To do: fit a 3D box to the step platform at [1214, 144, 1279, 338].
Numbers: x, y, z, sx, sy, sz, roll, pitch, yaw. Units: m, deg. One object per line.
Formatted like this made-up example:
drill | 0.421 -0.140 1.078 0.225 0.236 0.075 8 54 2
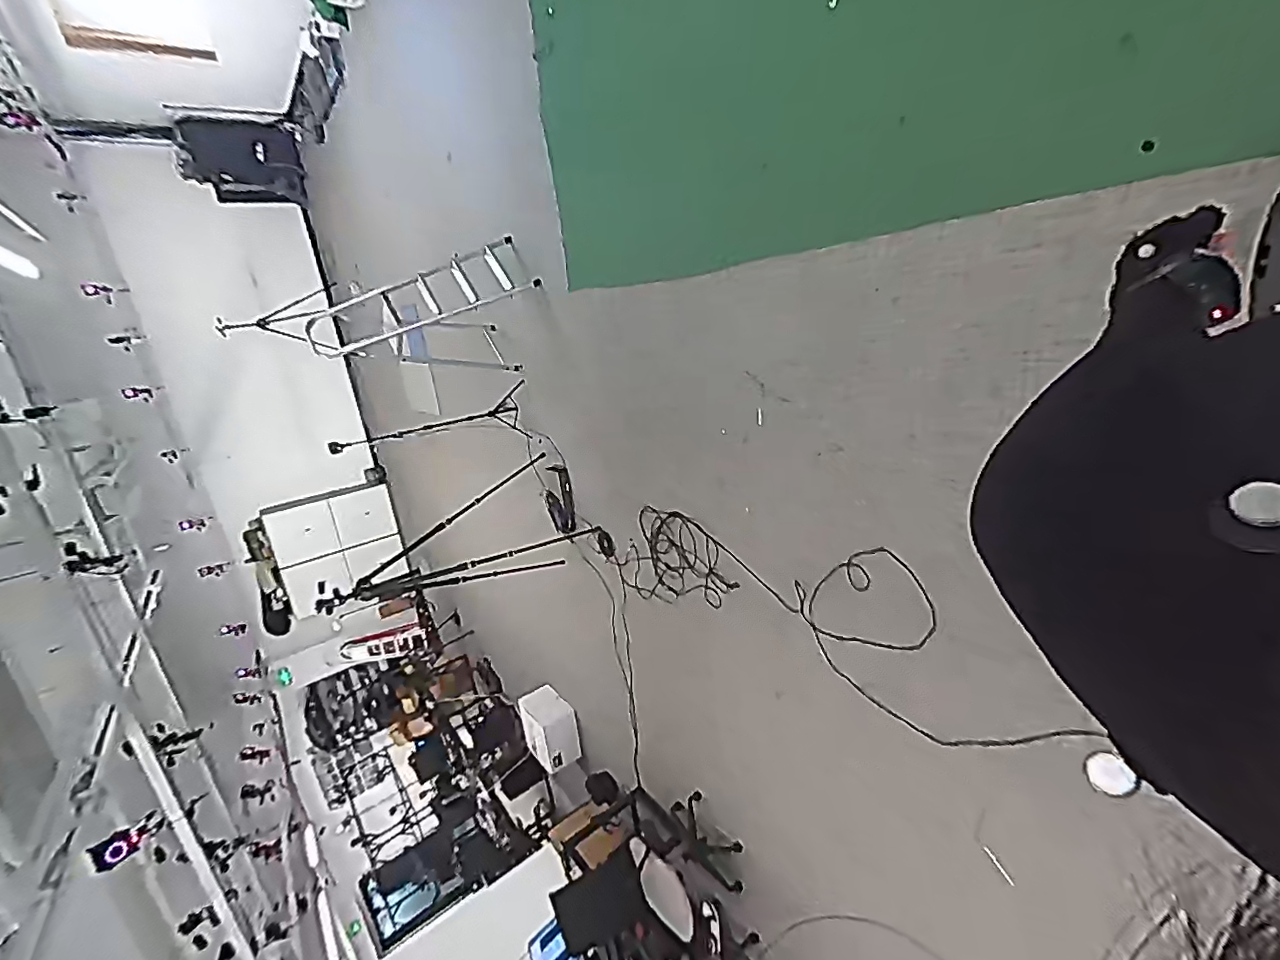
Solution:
step platform | 1.219 -0.348 0.665 0.684 0.204 0.286 15 118 52
